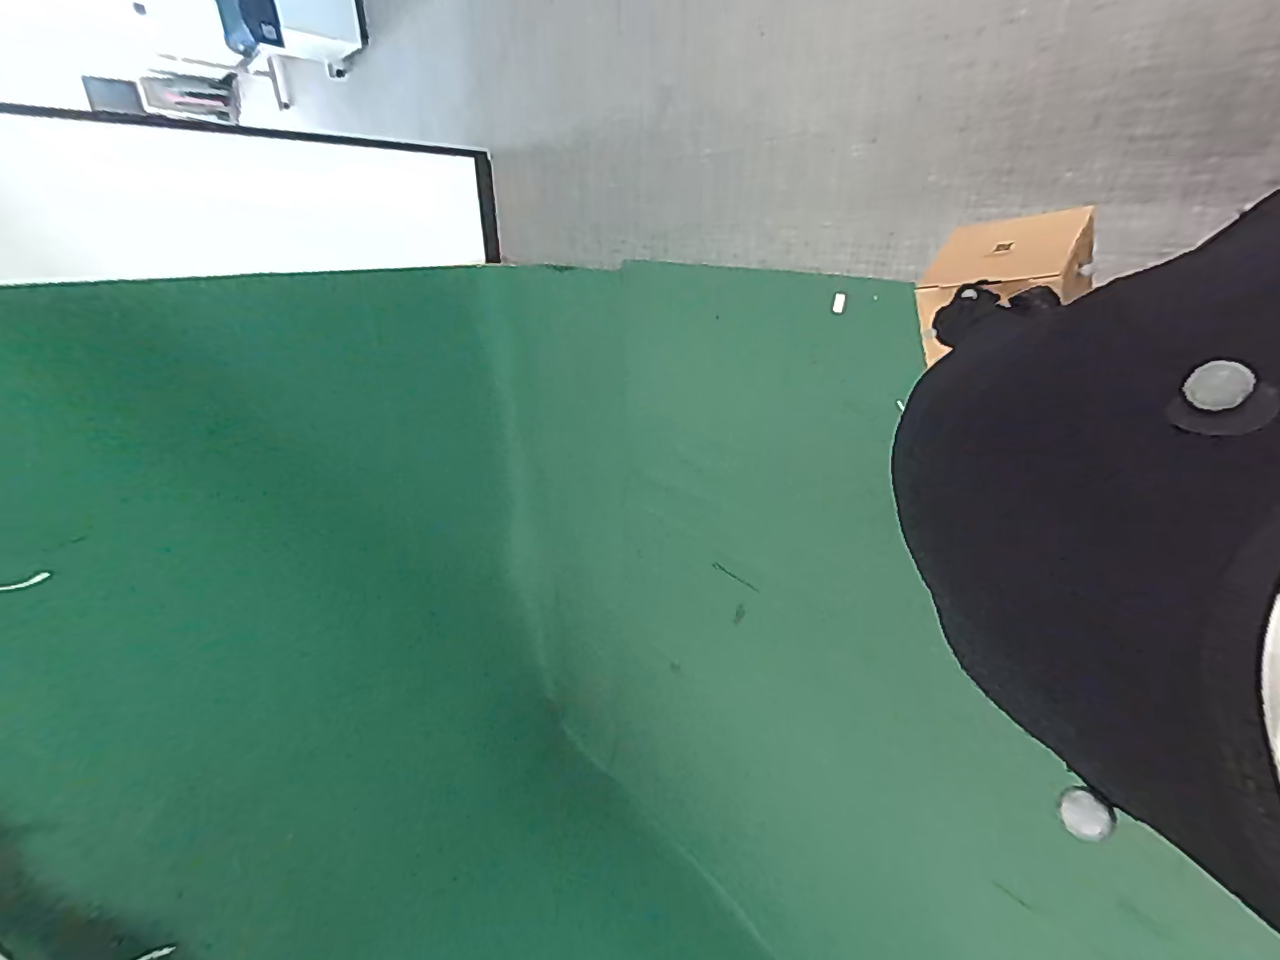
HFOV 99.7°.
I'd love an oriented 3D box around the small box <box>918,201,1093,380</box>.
[{"bbox_3d":[0.526,-0.266,0.780,0.168,0.179,0.176,12,144,45],"label":"small box"}]
